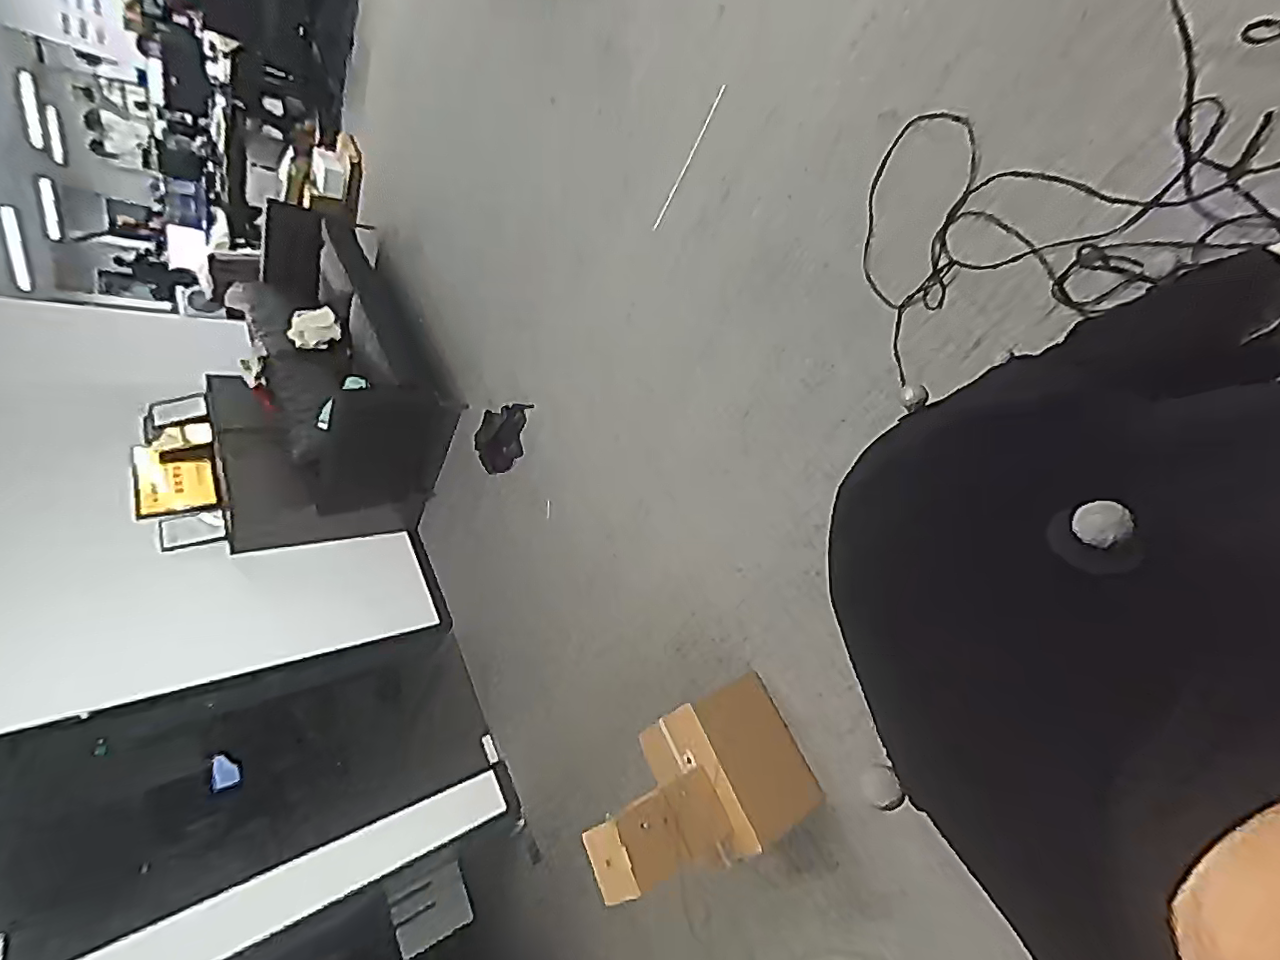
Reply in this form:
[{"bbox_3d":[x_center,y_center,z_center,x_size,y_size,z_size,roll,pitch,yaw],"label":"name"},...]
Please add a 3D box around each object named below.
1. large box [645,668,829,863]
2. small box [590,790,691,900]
[{"bbox_3d":[0.288,0.860,1.658,0.320,0.320,0.408,-51,57,38],"label":"large box"},{"bbox_3d":[0.006,0.916,1.366,0.179,0.176,0.168,-53,54,39],"label":"small box"}]
